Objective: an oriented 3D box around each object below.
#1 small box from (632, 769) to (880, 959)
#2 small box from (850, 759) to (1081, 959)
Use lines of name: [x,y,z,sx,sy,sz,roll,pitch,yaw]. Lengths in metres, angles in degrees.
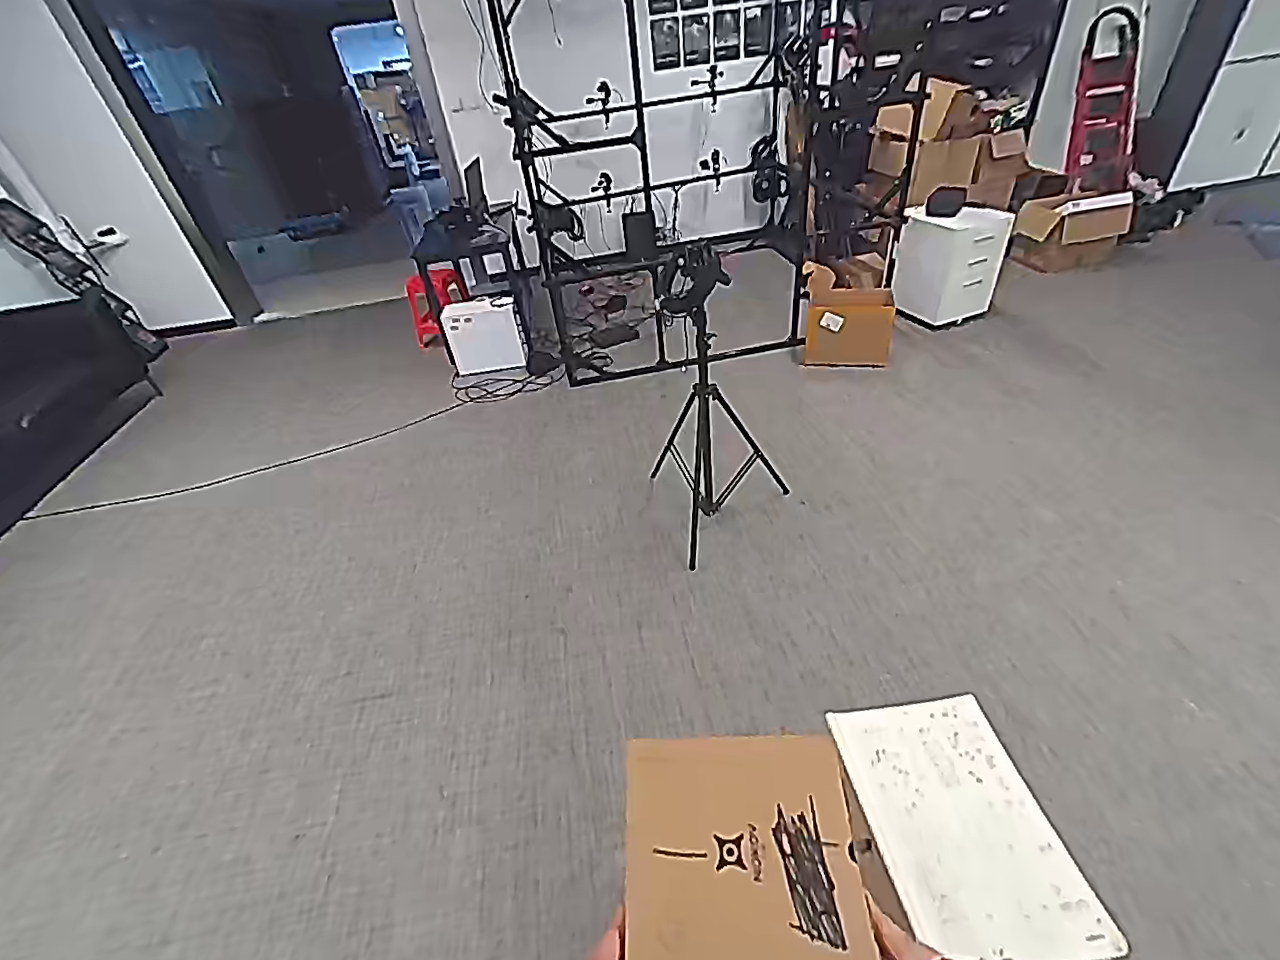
small box: [0.085,0.356,0.466,0.179,0.176,0.168,-2,51,3]
small box: [0.365,0.479,0.661,0.168,0.176,0.179,-9,39,-4]
